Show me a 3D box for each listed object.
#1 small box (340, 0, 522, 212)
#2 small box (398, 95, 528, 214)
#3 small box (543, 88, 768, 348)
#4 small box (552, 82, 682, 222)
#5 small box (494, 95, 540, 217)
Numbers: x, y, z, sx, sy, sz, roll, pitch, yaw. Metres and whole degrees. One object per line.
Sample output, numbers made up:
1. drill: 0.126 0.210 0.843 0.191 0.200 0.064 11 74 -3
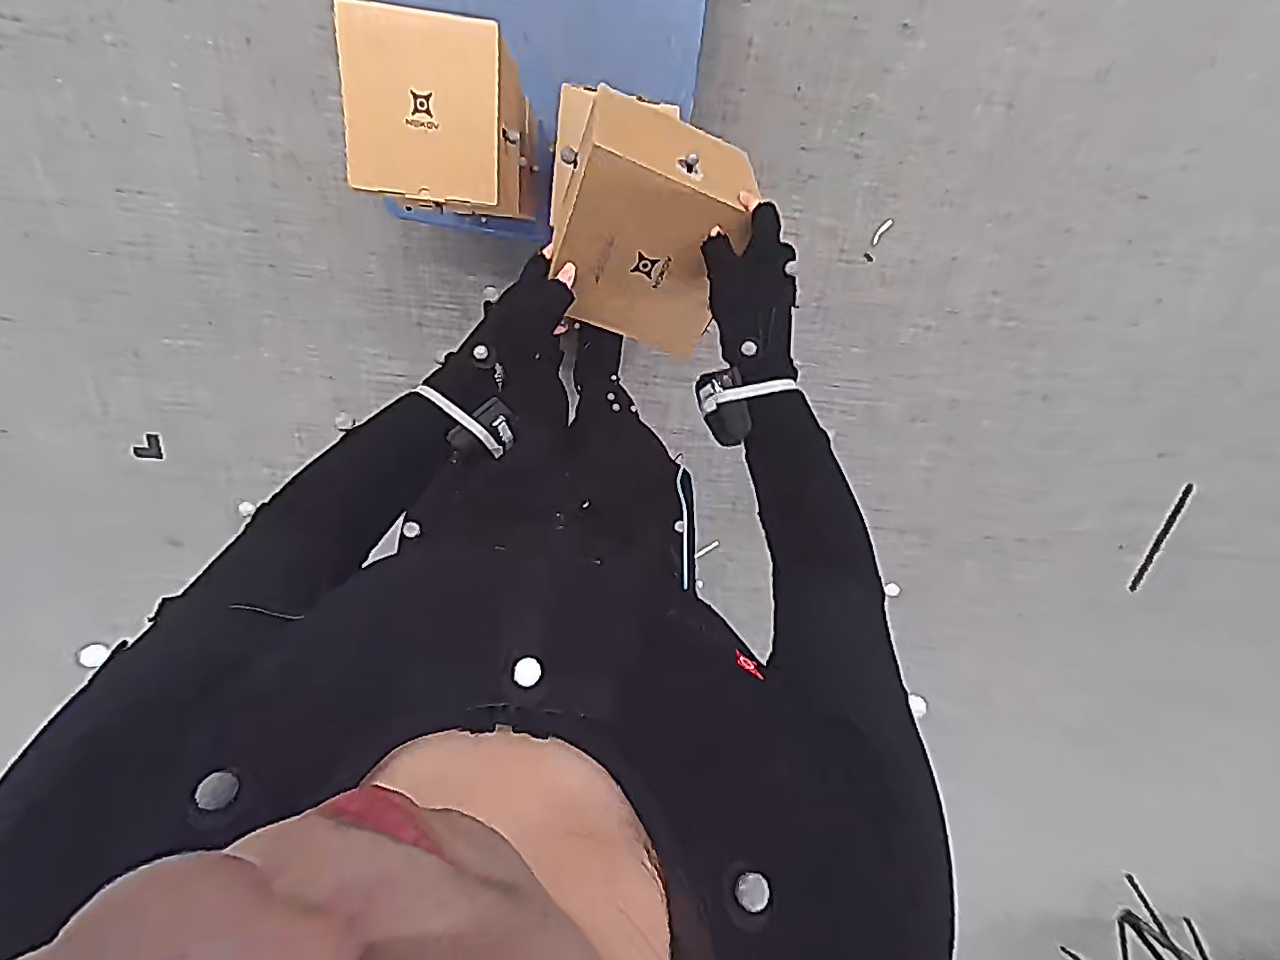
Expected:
1. small box: -0.239 -0.436 0.659 0.168 0.176 0.179 4 114 -6
2. small box: -0.259 -0.501 0.808 0.168 0.176 0.179 2 115 -6
3. small box: 0.009 -0.277 0.578 0.179 0.176 0.168 14 138 -18
4. small box: -0.041 -0.475 0.835 0.168 0.176 0.179 7 114 -7
5. small box: -0.269 -0.570 0.957 0.168 0.176 0.179 4 114 -6
